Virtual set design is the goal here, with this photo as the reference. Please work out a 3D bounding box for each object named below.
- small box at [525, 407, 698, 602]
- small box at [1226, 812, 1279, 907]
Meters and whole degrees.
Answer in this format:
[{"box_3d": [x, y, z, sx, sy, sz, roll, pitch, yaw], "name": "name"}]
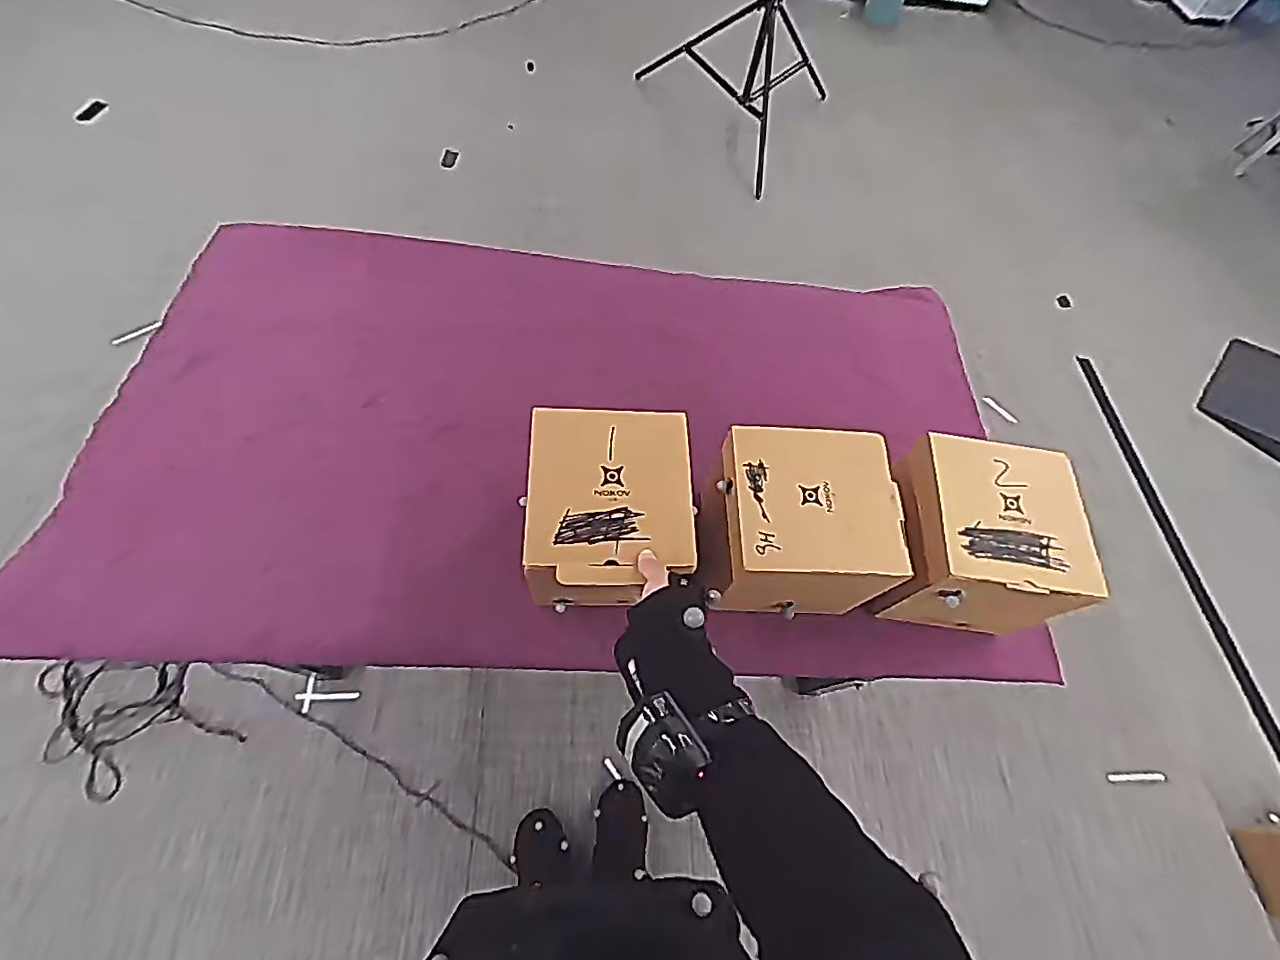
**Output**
[{"box_3d": [-0.035, 0.037, 0.610, 0.168, 0.176, 0.179, 1, 65, -7], "name": "small box"}, {"box_3d": [1.513, 0.865, 1.215, 0.168, 0.176, 0.179, -3, 63, -10], "name": "small box"}]
